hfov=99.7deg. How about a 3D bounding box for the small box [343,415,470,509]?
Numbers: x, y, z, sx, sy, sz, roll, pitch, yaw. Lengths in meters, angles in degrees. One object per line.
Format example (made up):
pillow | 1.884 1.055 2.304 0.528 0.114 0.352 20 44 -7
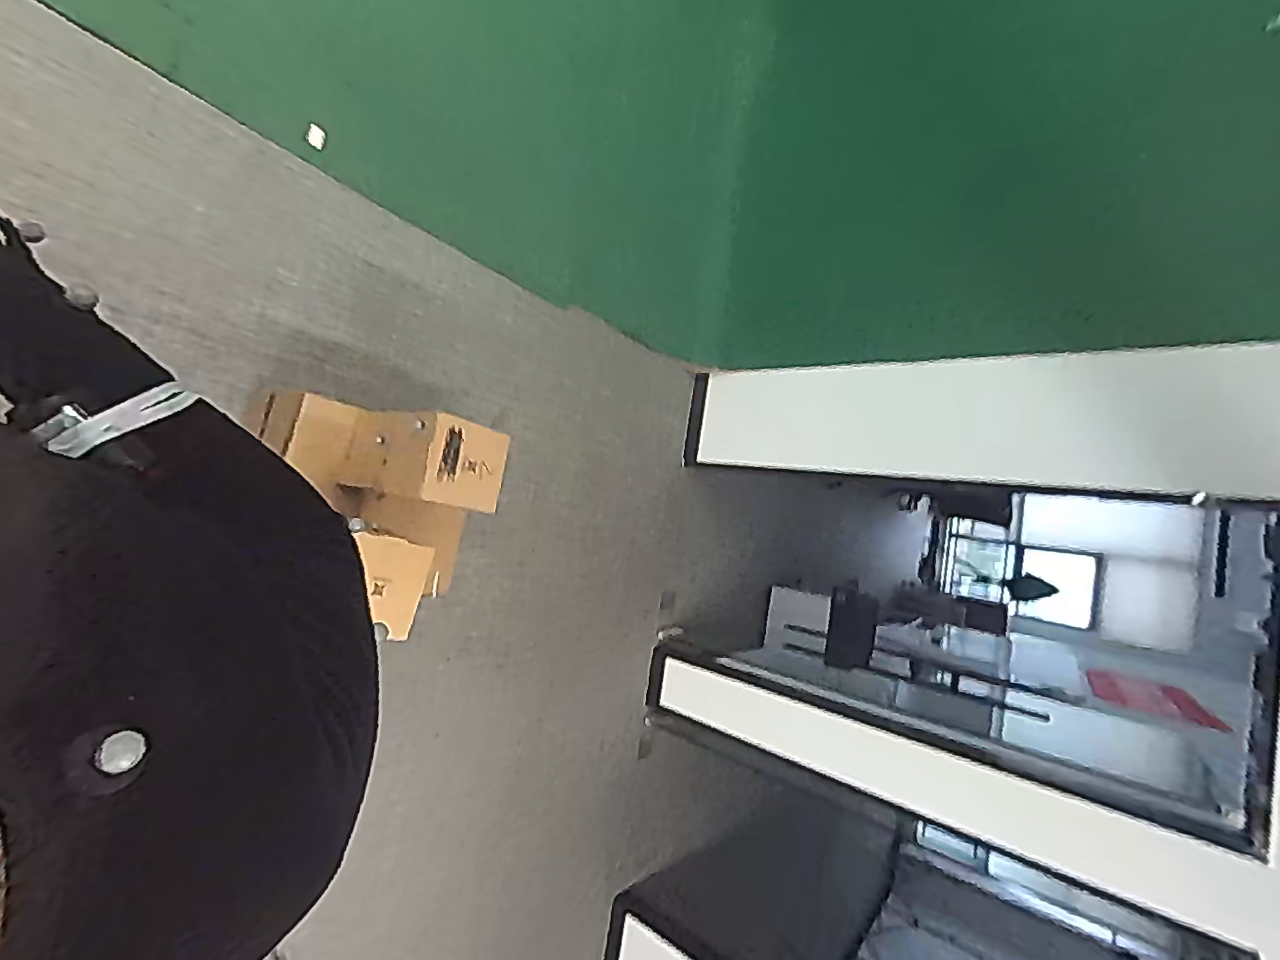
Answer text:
small box | -0.518 -0.043 1.204 0.179 0.176 0.168 26 74 -52

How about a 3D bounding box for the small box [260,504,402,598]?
small box | -0.625 0.151 1.093 0.179 0.176 0.168 26 76 -52

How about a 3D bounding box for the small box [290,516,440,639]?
small box | -0.505 0.176 0.986 0.168 0.176 0.179 27 75 -51
